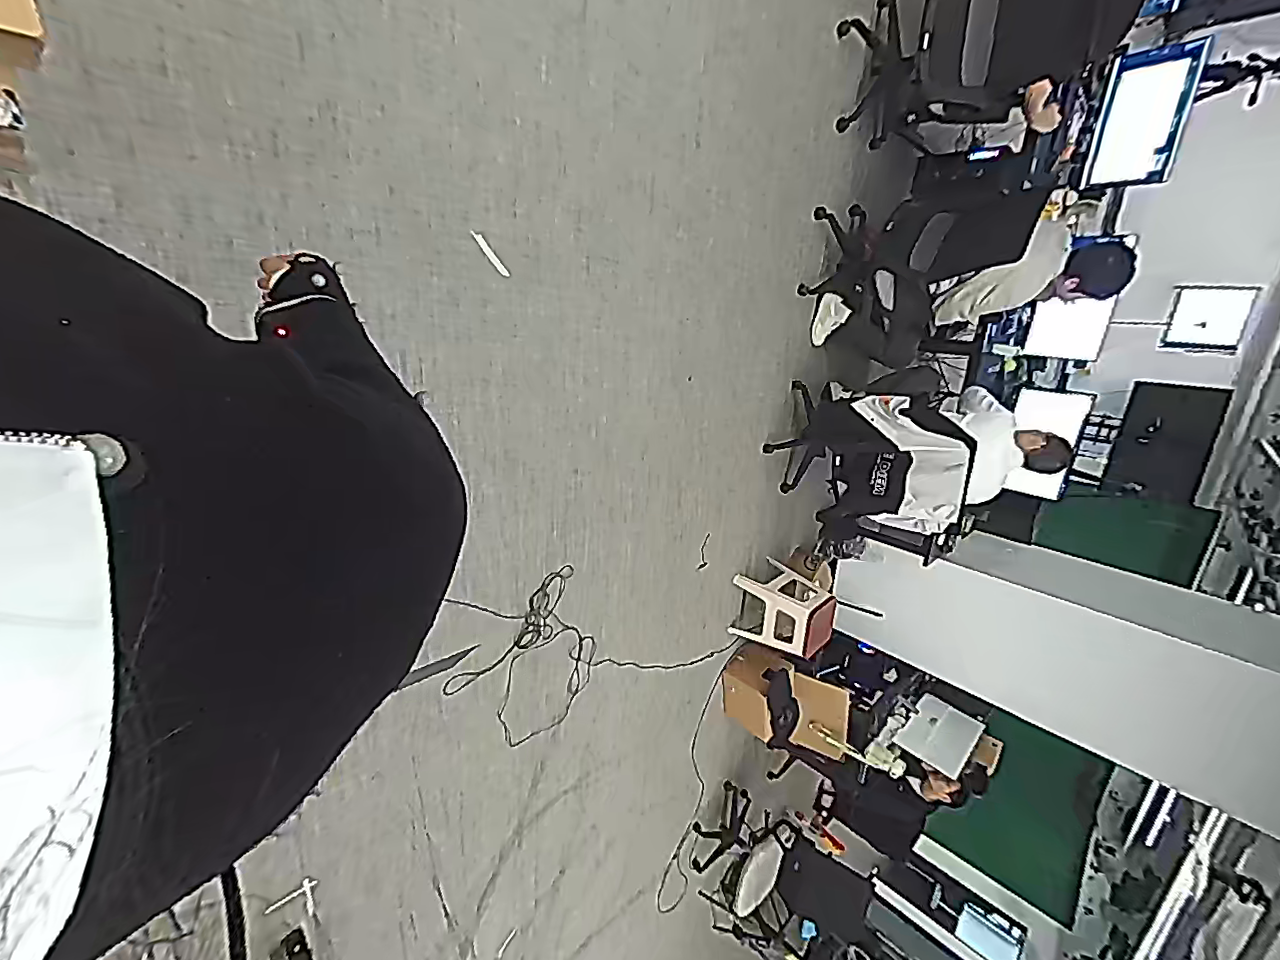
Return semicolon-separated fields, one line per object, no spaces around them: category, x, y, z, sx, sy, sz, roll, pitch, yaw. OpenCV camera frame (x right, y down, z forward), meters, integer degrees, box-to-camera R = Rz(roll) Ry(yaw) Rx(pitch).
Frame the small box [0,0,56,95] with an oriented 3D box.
small box;-0.707;-0.492;0.513;0.179;0.176;0.168;-17;117;-44
